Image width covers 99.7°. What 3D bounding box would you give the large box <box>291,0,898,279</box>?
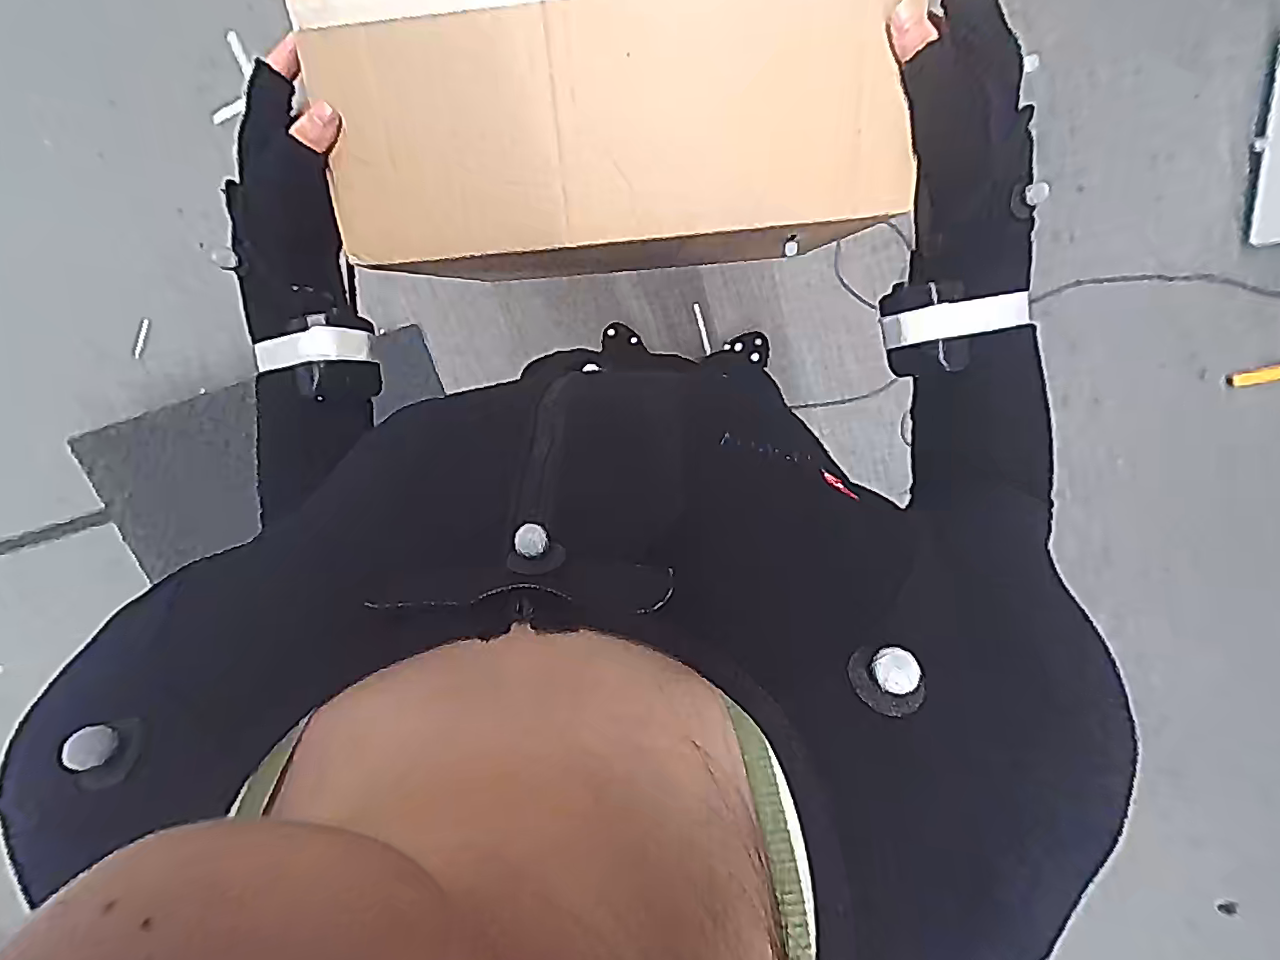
[{"bbox_3d":[-0.027,-0.369,0.491,0.408,0.320,0.320,-5,107,4],"label":"large box"}]
